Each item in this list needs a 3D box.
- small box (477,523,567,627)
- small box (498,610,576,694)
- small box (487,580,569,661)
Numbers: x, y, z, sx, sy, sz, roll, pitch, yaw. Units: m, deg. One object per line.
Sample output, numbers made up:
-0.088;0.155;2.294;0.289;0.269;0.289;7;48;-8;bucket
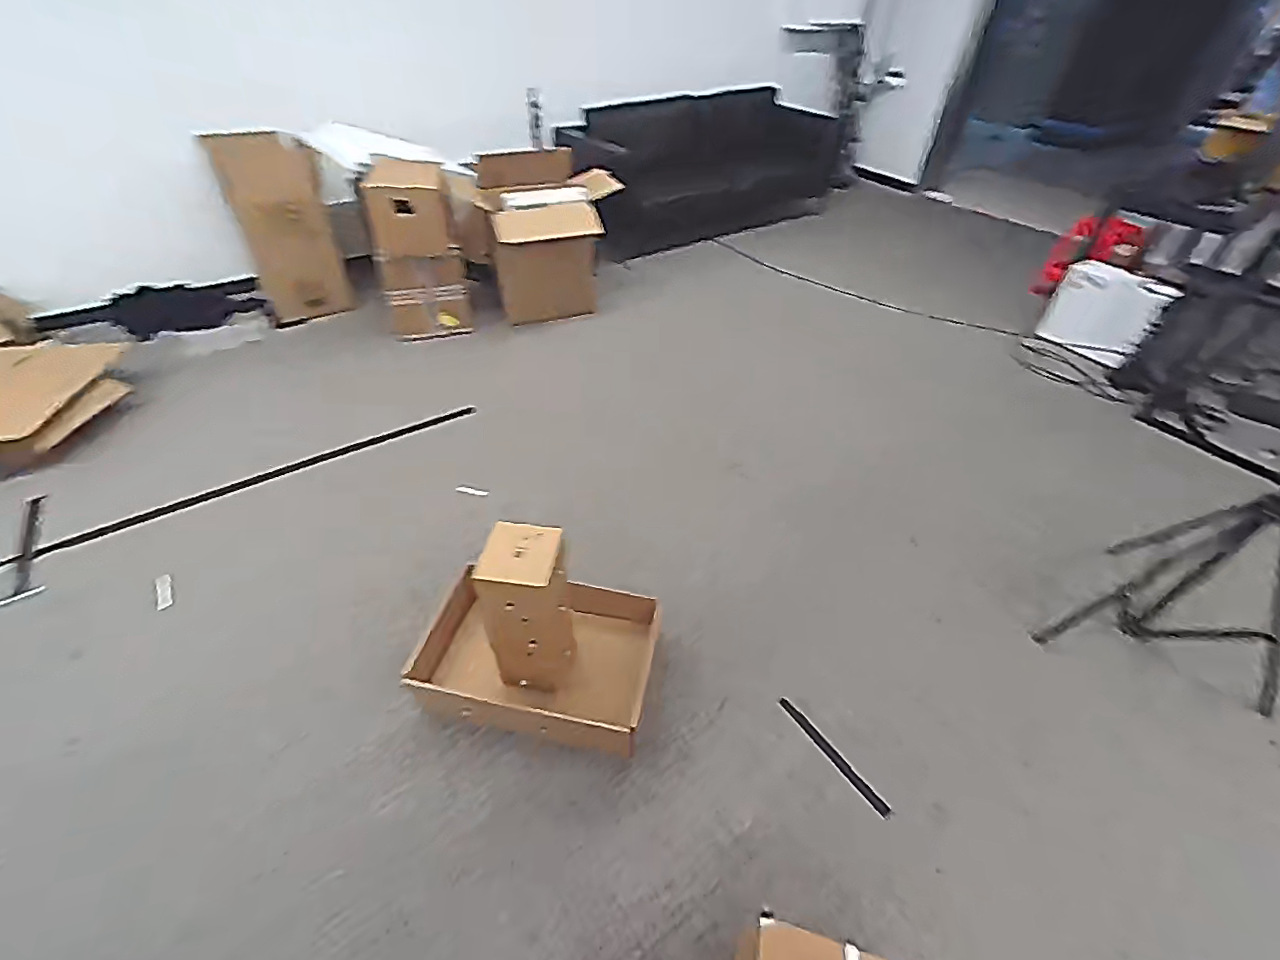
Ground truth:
-0.273;0.231;1.302;0.168;0.176;0.179;7;43;3;small box
-0.283;0.471;1.524;0.168;0.176;0.179;9;44;8;small box
-0.284;0.350;1.417;0.168;0.176;0.179;7;42;3;small box
